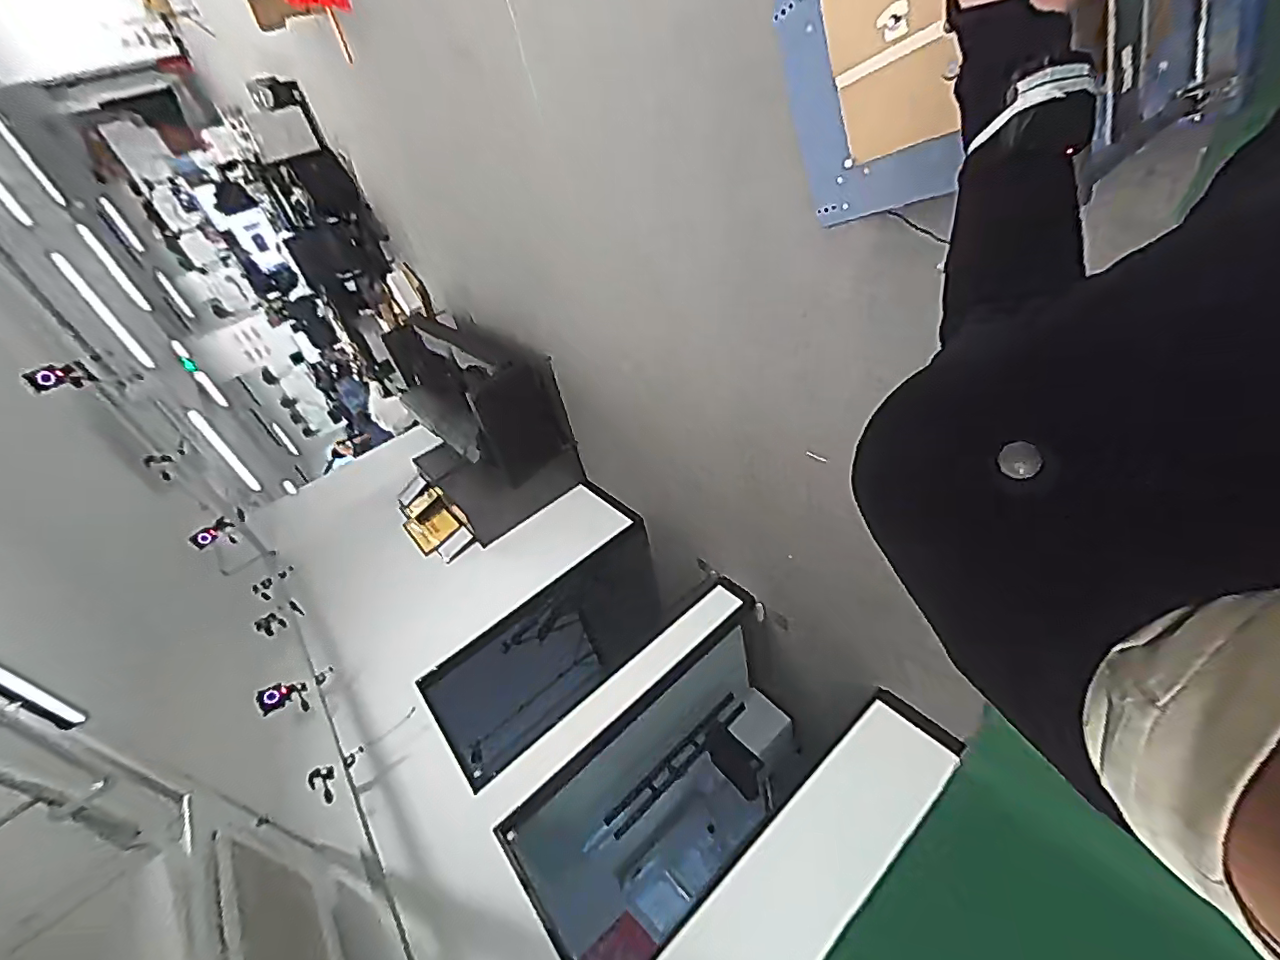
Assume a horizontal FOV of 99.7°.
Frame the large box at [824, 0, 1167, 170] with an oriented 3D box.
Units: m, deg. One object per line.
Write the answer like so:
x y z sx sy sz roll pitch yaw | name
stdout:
0.616 -0.821 0.960 0.408 0.320 0.320 18 135 56 | large box
